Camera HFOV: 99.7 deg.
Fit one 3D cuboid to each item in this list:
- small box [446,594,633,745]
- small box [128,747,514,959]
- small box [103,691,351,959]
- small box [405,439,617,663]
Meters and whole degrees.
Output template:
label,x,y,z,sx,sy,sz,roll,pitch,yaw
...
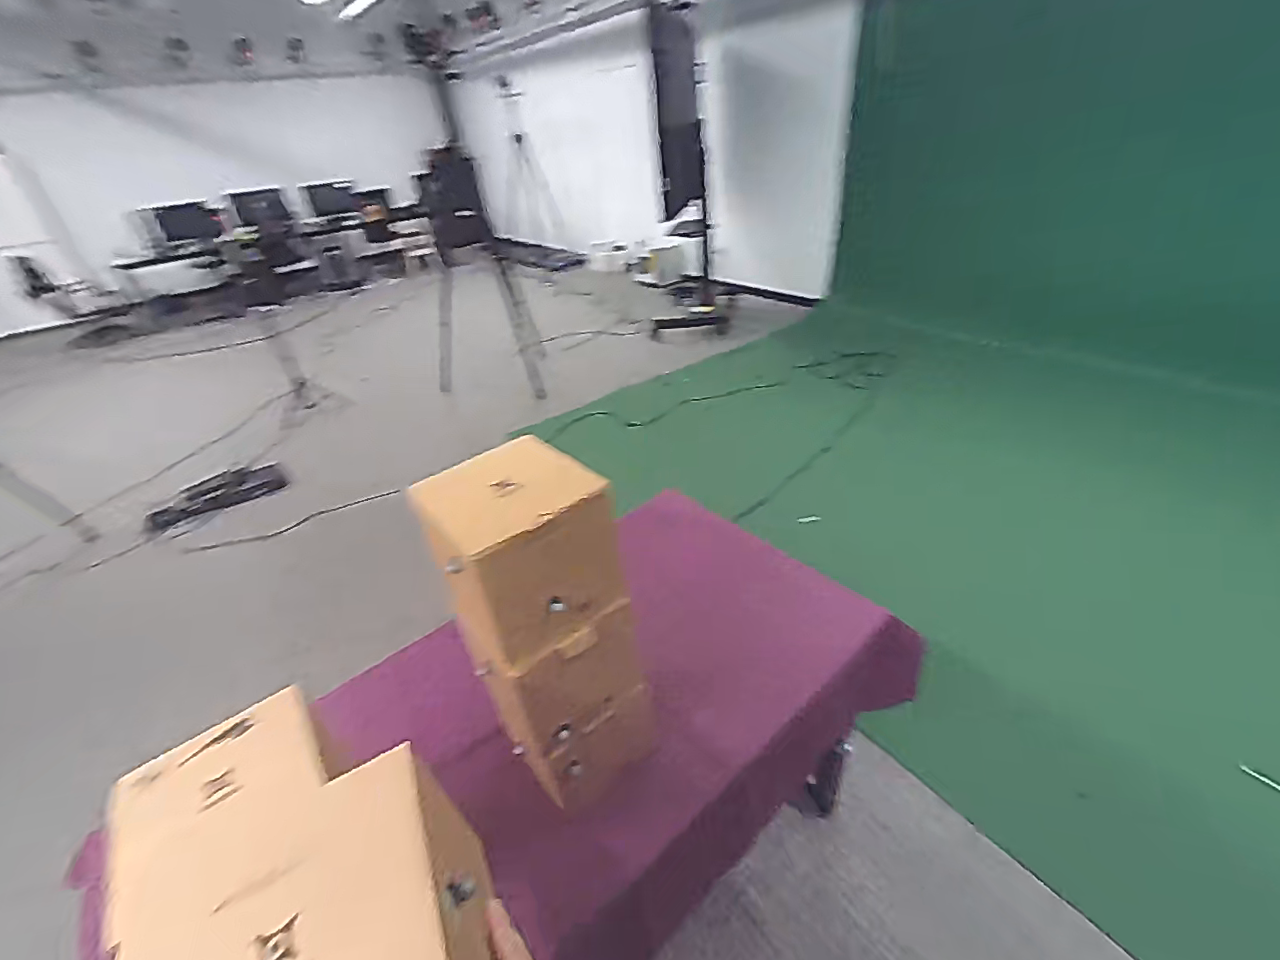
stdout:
label,x,y,z,sx,sy,sz,roll,pitch,yaw
small box,-0.127,0.218,0.724,0.168,0.176,0.179,-29,38,-30
small box,-0.176,0.318,0.334,0.168,0.176,0.179,-23,37,-18
small box,-0.387,0.364,0.547,0.168,0.176,0.179,-28,39,-30
small box,-0.147,0.078,0.642,0.168,0.176,0.179,-30,40,-31
